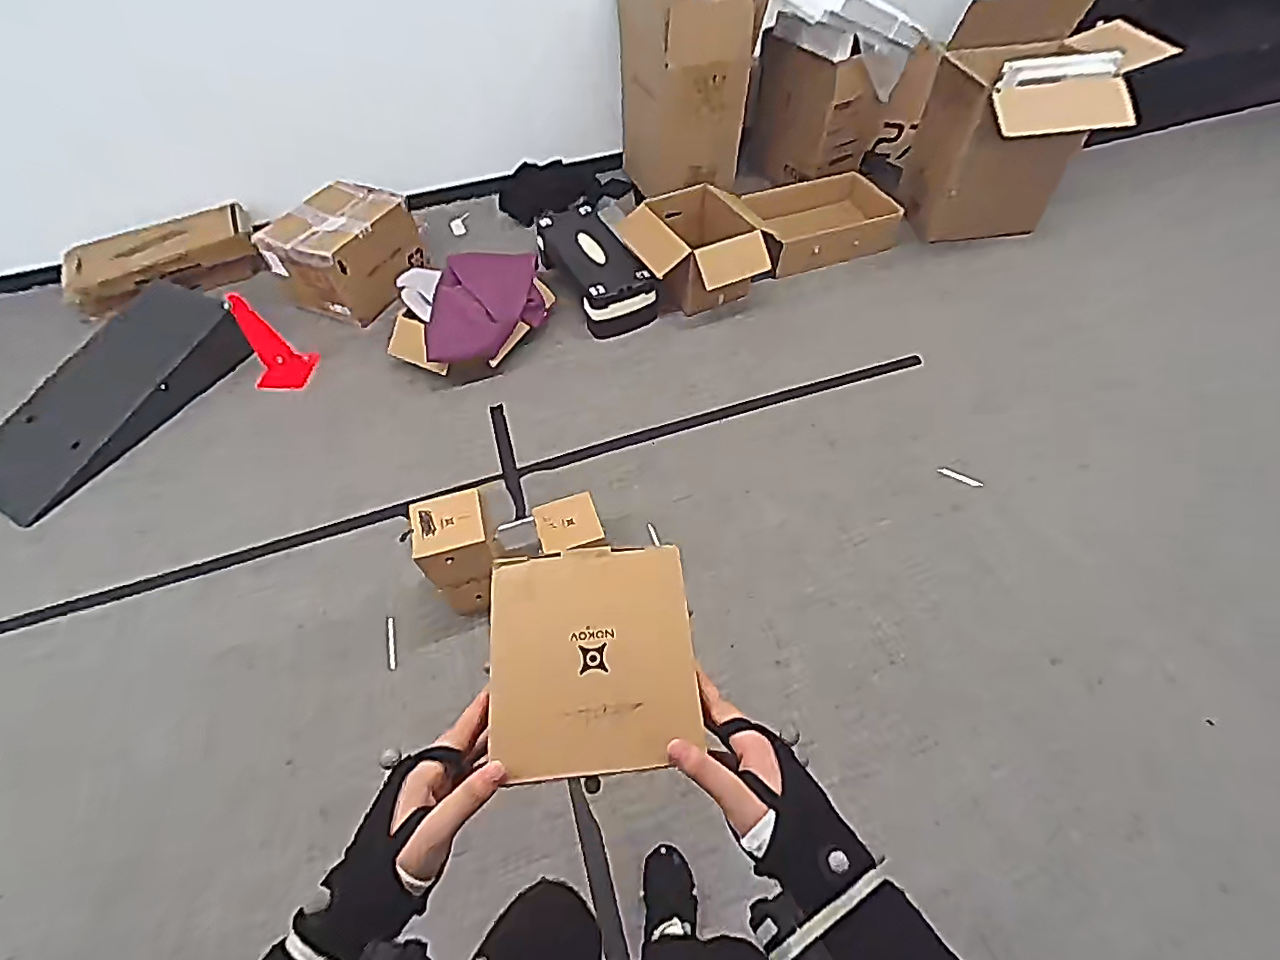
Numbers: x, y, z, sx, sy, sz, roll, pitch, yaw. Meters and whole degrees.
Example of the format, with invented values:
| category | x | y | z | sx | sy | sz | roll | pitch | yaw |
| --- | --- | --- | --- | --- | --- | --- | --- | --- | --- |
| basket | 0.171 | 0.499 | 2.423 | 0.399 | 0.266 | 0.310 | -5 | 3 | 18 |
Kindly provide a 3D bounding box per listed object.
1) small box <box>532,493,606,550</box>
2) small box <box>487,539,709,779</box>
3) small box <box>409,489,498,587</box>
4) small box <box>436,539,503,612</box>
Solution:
| category | x | y | z | sx | sy | sz | roll | pitch | yaw |
| --- | --- | --- | --- | --- | --- | --- | --- | --- | --- |
| small box | -0.202 | 0.170 | 1.577 | 0.179 | 0.176 | 0.168 | -17 | 56 | -10 |
| small box | -0.040 | 0.170 | 0.503 | 0.168 | 0.176 | 0.179 | -4 | 64 | -4 |
| small box | -0.476 | 0.154 | 1.396 | 0.179 | 0.176 | 0.168 | -15 | 55 | -8 |
| small box | -0.470 | 0.256 | 1.527 | 0.168 | 0.176 | 0.179 | -15 | 56 | -8 |
